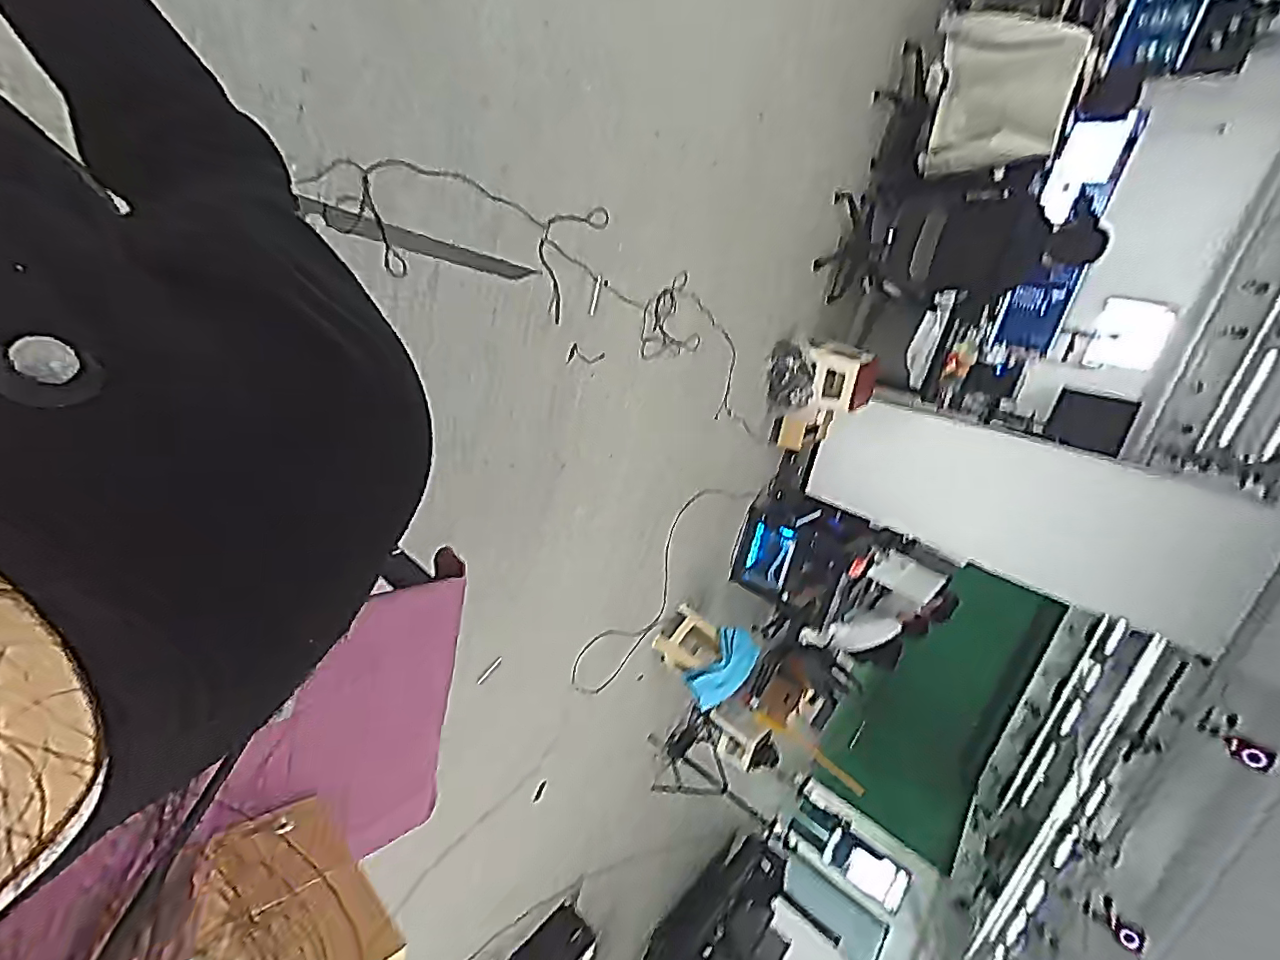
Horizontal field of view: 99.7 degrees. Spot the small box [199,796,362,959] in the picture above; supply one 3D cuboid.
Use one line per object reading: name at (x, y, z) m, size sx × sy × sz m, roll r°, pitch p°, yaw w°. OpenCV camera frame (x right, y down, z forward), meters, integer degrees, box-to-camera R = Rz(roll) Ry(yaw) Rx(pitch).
small box at (-0.584, 0.665, 0.875) m, size 0.168 × 0.176 × 0.179 m, roll 1°, pitch 107°, yaw -54°
